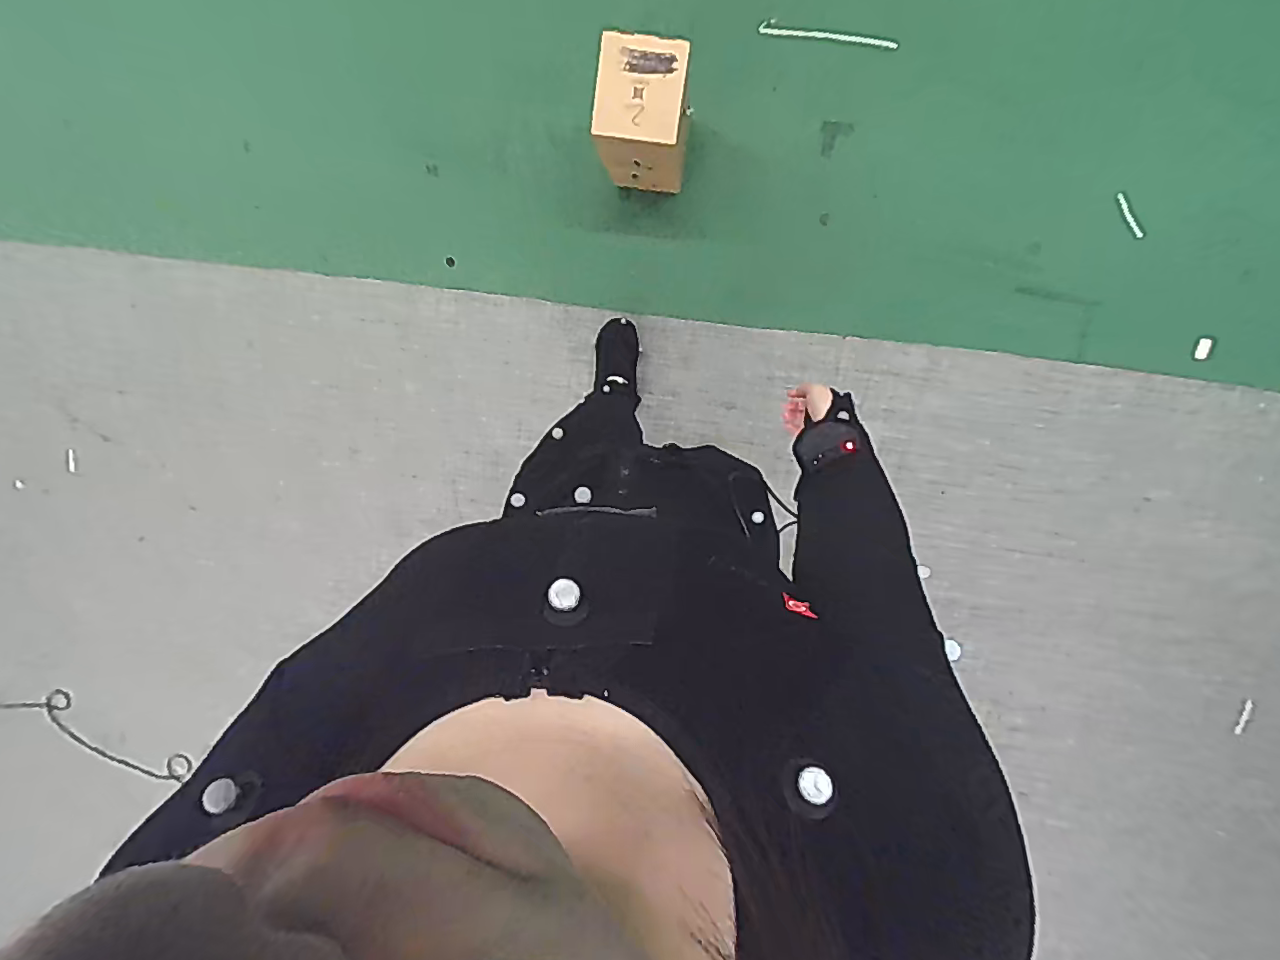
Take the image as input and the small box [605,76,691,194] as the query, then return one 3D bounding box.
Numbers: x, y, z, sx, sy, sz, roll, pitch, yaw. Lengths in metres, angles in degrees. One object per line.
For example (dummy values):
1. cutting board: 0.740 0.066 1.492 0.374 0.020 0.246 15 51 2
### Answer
1. small box: 0.024 -0.778 1.237 0.168 0.176 0.179 9 102 3
